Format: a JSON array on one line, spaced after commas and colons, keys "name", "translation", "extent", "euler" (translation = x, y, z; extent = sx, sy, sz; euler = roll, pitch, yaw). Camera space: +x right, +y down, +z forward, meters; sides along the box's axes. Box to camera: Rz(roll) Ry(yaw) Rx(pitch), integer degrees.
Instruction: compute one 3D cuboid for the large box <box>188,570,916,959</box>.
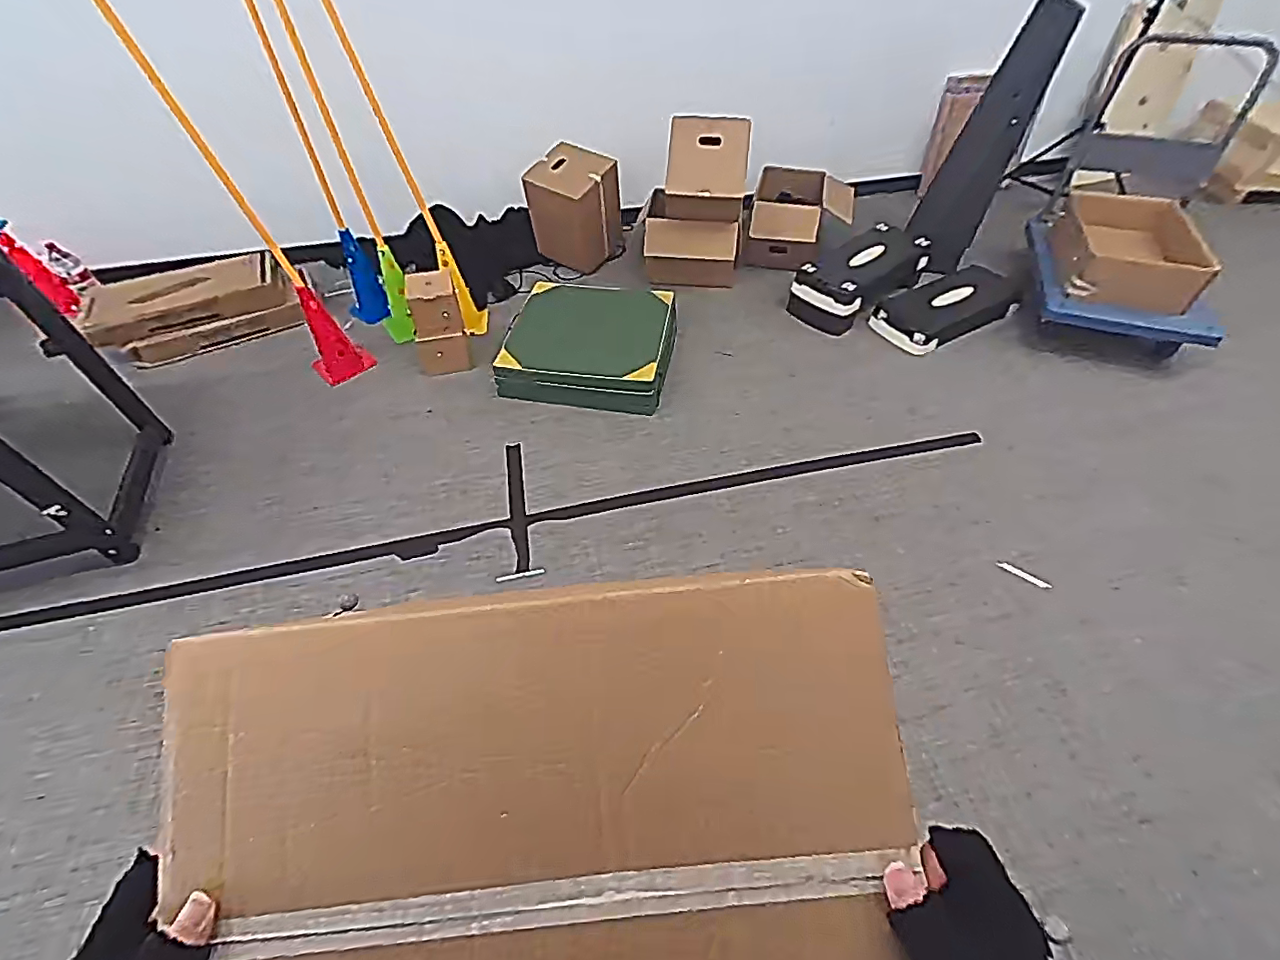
[{"name": "large box", "translation": [-0.051, 0.253, 0.448], "extent": [0.408, 0.320, 0.320], "euler": [-6, 81, 0]}]
